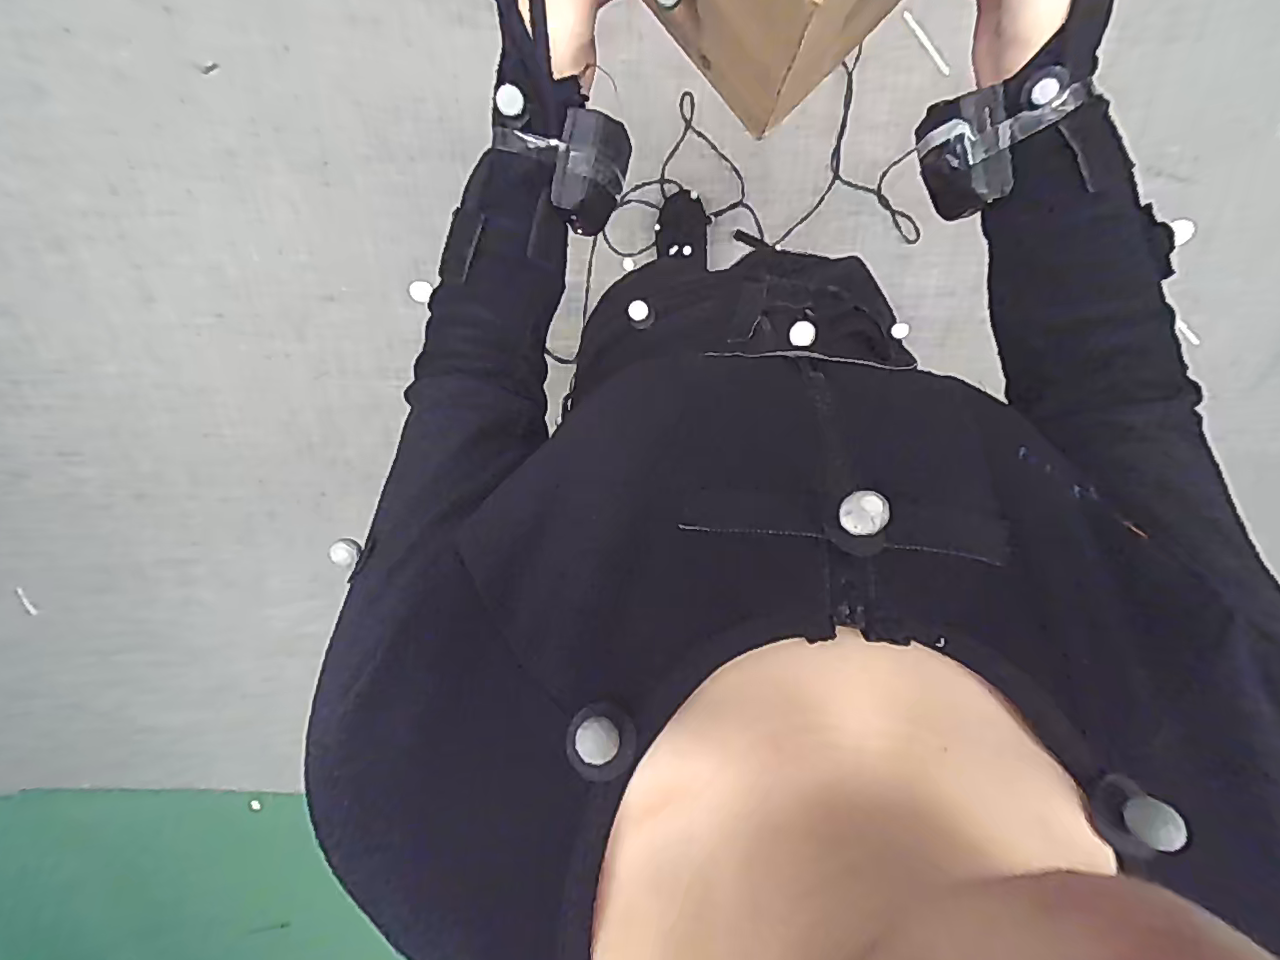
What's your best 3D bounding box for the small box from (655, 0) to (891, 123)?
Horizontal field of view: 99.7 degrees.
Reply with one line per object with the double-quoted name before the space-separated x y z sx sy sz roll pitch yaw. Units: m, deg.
"small box" 0.083 -0.338 0.281 0.179 0.176 0.168 -42 97 13
